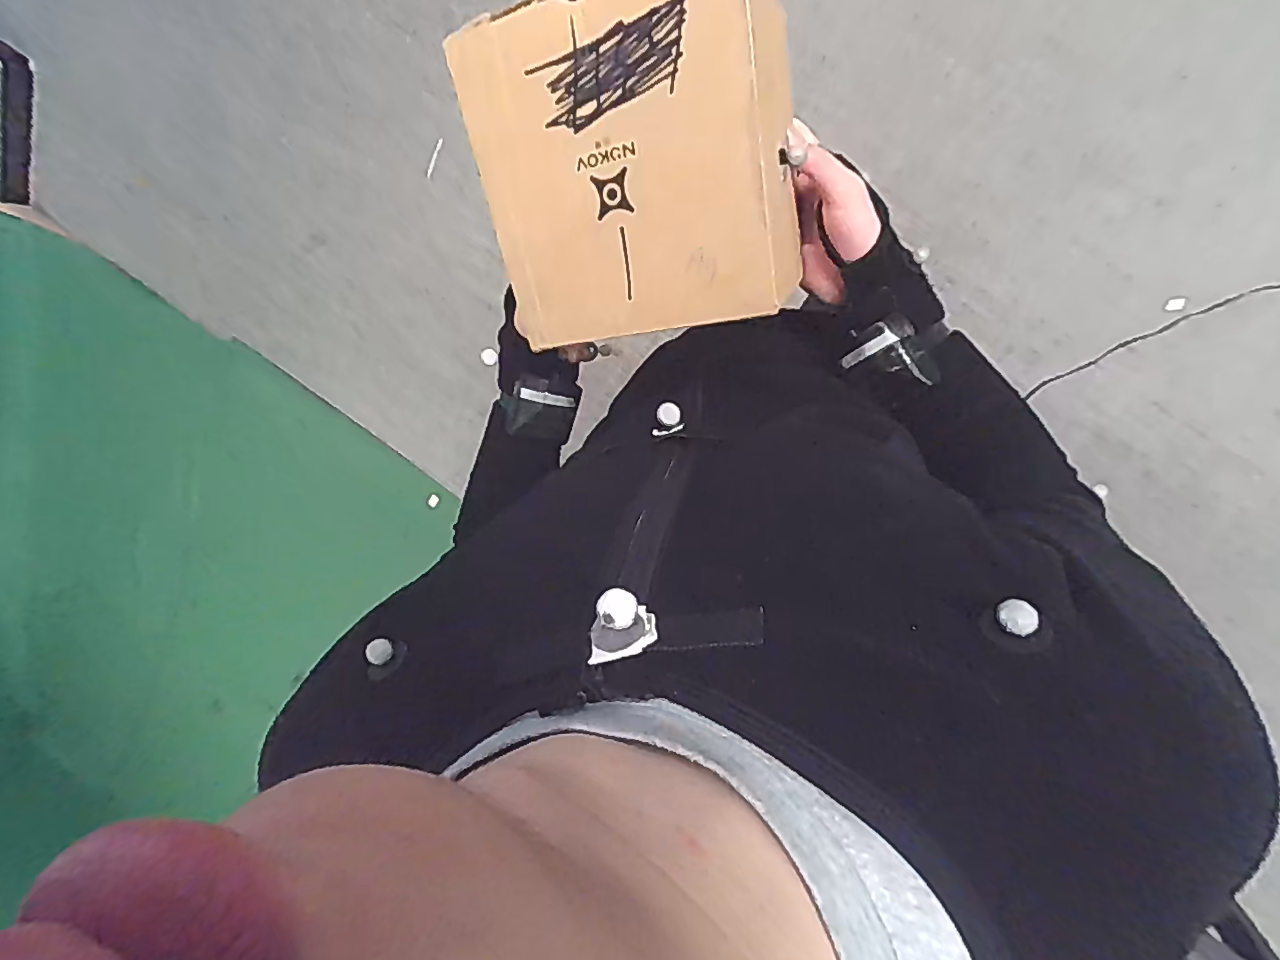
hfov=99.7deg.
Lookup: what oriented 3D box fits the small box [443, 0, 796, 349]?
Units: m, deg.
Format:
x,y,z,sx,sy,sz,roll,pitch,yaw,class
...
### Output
x,y,z,sx,sy,sz,roll,pitch,yaw,class
0.008,-0.201,0.365,0.168,0.176,0.179,-1,116,24,small box
